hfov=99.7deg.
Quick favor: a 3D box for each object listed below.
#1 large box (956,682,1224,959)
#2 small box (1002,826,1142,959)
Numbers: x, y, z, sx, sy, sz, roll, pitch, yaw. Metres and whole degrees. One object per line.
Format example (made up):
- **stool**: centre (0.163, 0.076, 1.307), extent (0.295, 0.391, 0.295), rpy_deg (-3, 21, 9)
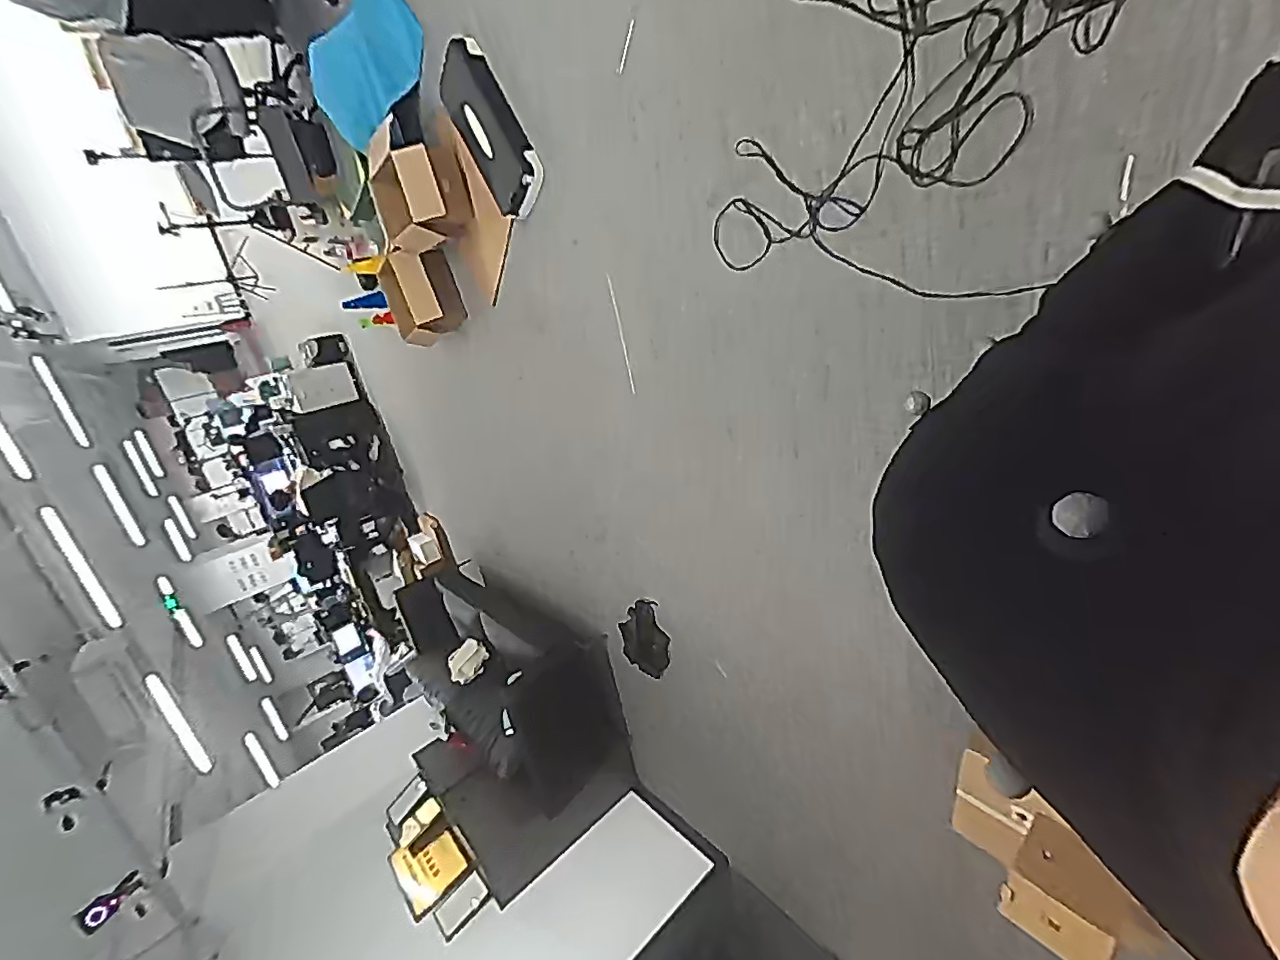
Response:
- **large box**: centre (1.045, 0.771, 1.286), extent (0.408, 0.320, 0.320), rpy_deg (21, 126, 47)
- **small box**: centre (0.889, 0.861, 1.117), extent (0.179, 0.176, 0.168), rpy_deg (20, 128, 45)
